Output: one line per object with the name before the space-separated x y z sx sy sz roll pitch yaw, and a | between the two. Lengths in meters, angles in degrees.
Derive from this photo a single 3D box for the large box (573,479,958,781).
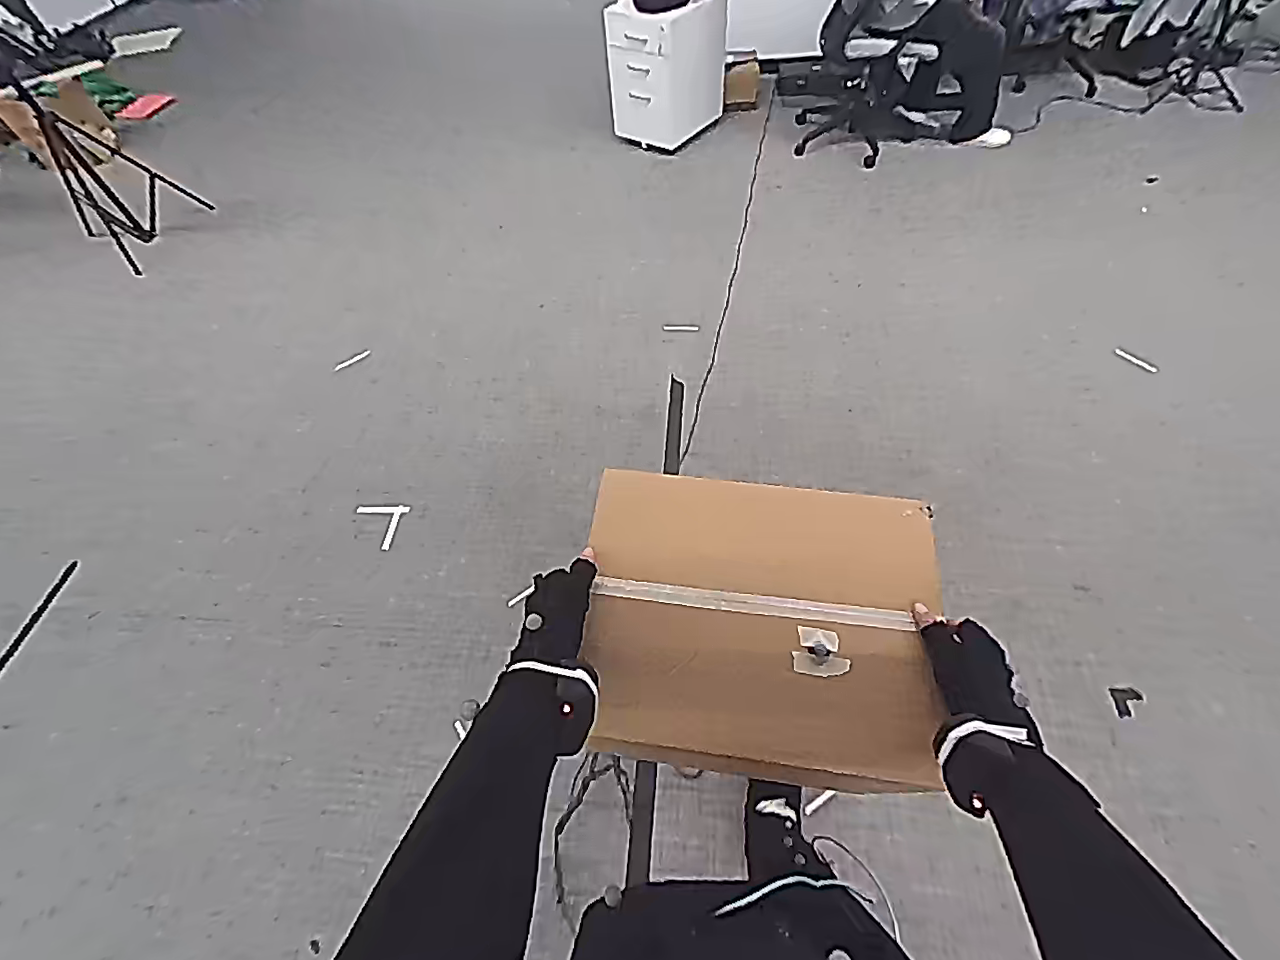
large box | 0.143 0.221 0.757 0.408 0.320 0.320 6 61 5
